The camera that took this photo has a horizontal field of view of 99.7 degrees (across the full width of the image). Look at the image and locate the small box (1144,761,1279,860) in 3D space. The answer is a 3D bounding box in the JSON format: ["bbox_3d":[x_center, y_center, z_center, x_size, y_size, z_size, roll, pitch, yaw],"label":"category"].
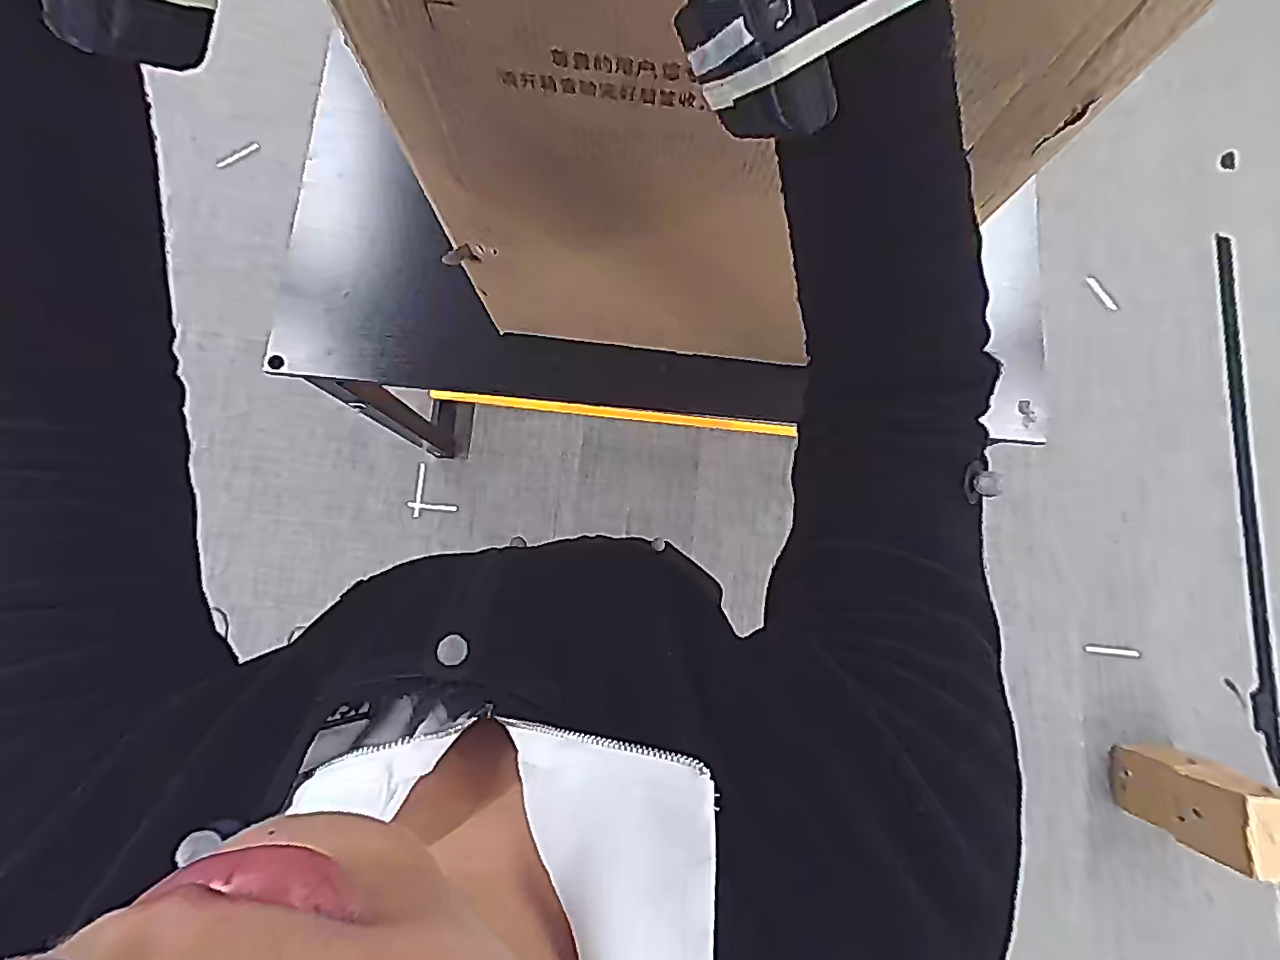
[{"bbox_3d":[1.402,0.809,1.327,0.179,0.176,0.168,4,81,-1],"label":"small box"}]

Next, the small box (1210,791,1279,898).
[{"bbox_3d":[1.400,0.790,1.162,0.179,0.176,0.168,5,80,-2],"label":"small box"}]
